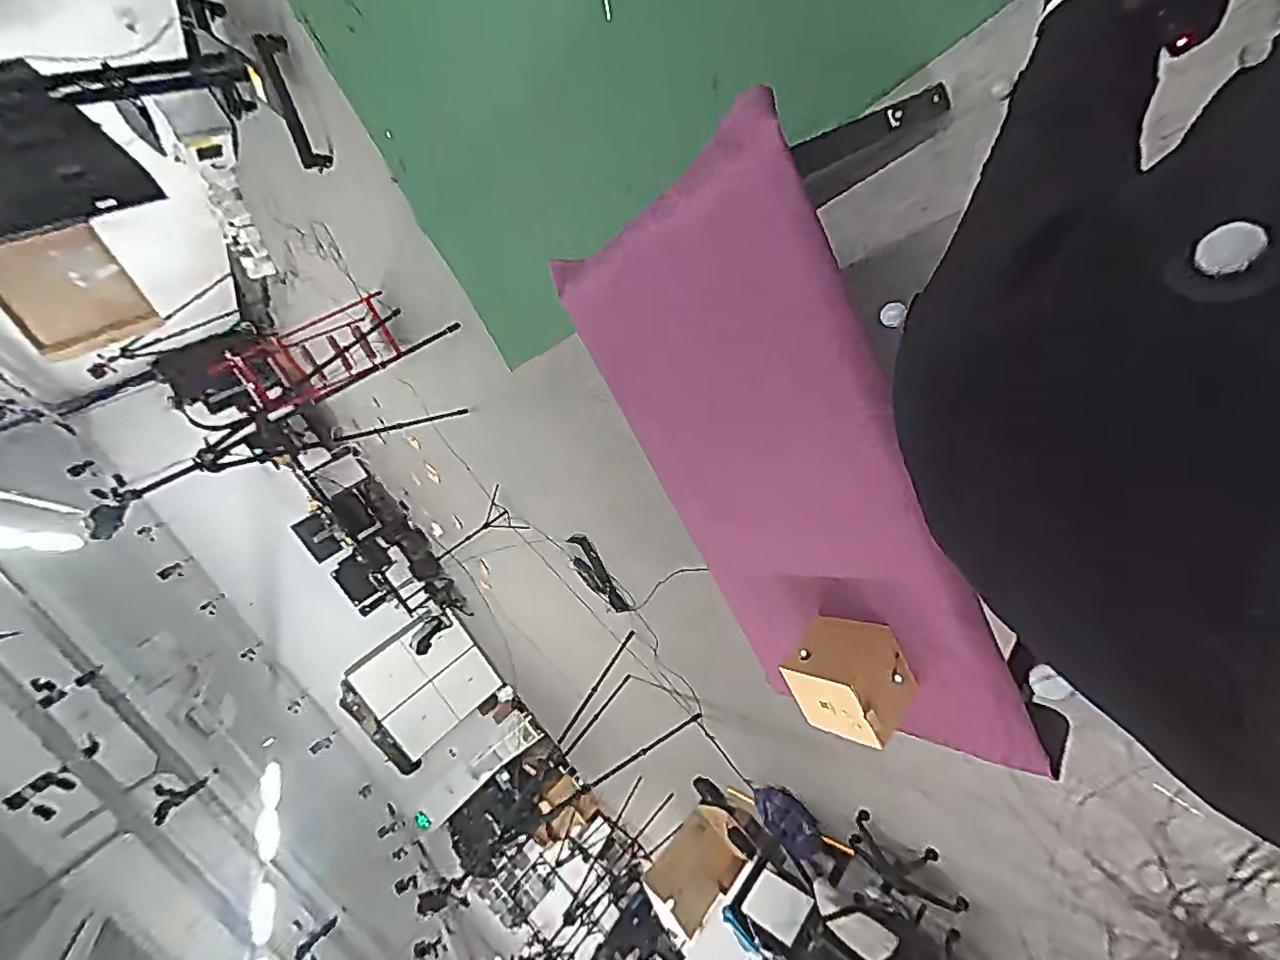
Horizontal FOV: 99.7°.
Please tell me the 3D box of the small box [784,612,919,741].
[{"bbox_3d":[0.439,0.395,1.121,0.179,0.176,0.168,-8,115,55],"label":"small box"}]
